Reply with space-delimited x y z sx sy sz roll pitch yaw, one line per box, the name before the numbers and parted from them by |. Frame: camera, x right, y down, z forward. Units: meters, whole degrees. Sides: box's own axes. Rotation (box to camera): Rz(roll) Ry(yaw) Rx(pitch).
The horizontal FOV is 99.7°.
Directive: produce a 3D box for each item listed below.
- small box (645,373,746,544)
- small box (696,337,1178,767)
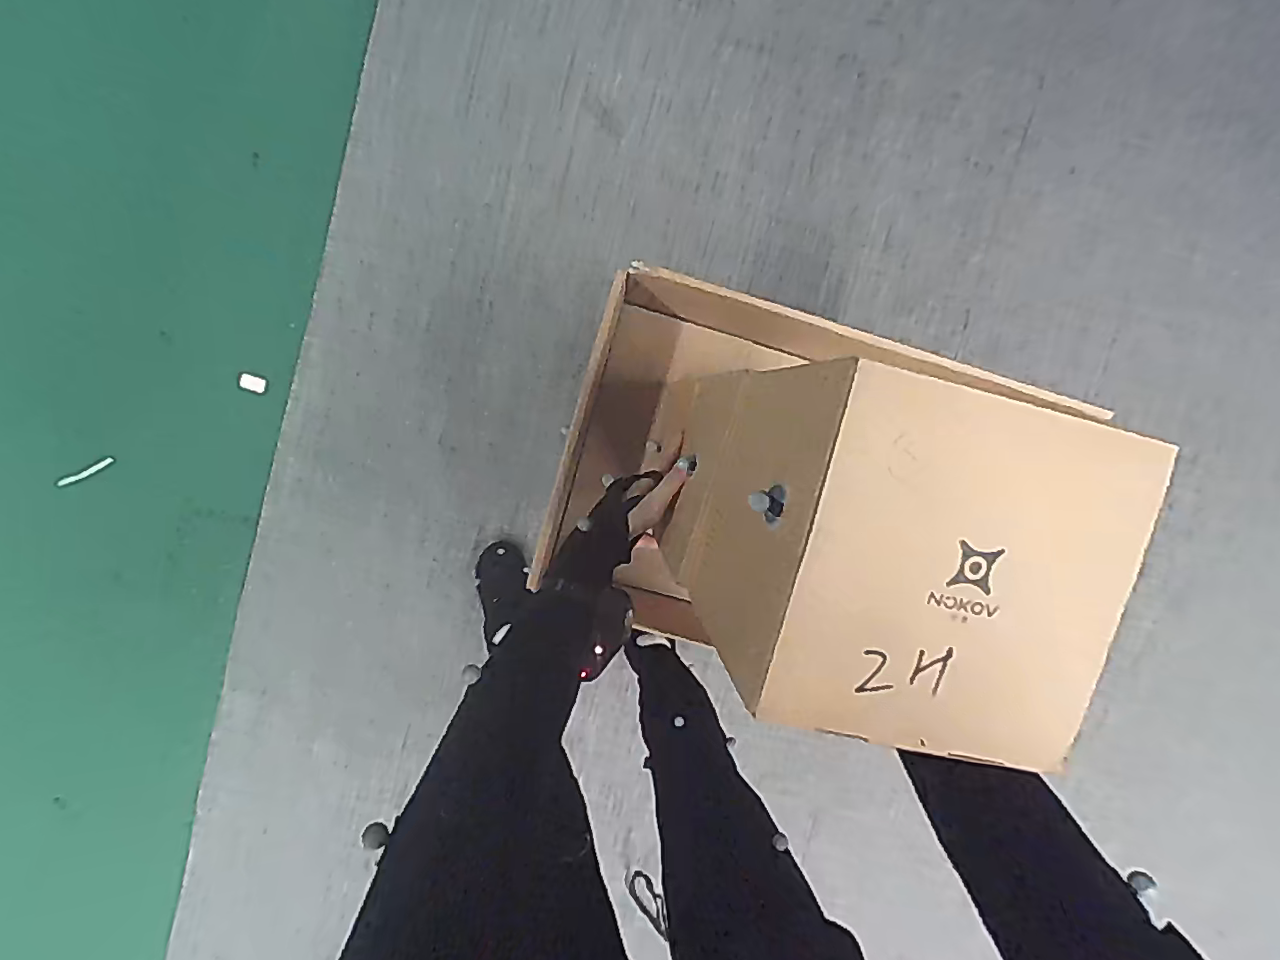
small box | 0.107 -0.021 0.651 0.168 0.176 0.179 14 97 -8
small box | 0.142 0.029 0.327 0.168 0.176 0.179 14 97 -7
